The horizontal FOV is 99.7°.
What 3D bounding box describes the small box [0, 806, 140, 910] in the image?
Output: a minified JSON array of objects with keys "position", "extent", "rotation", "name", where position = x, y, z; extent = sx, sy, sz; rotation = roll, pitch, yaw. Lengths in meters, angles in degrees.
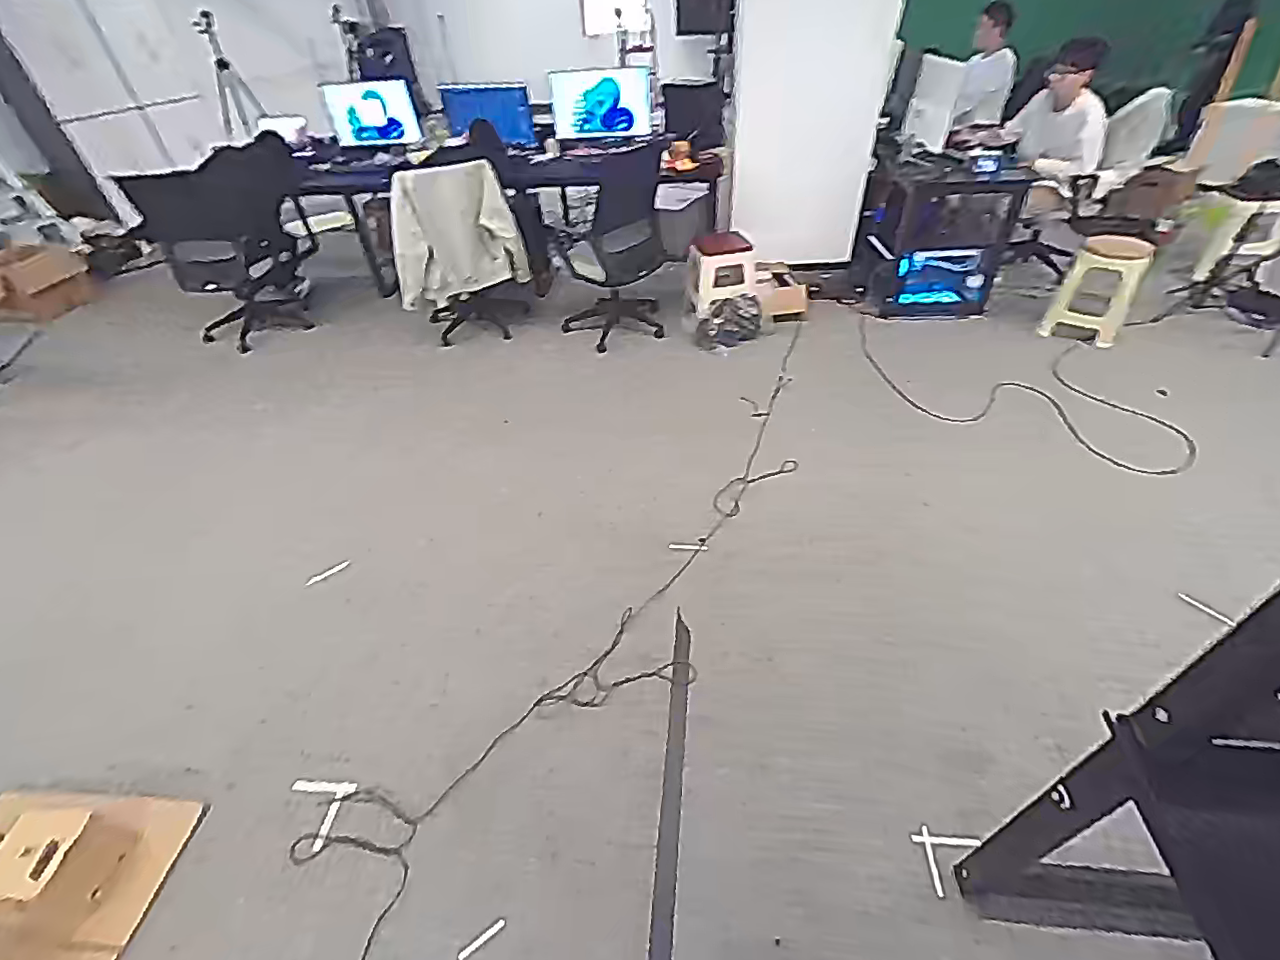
[{"position":[-1.335,0.873,1.250],"extent":[0.179,0.176,0.168],"rotation":[-2,42,3],"name":"small box"}]
